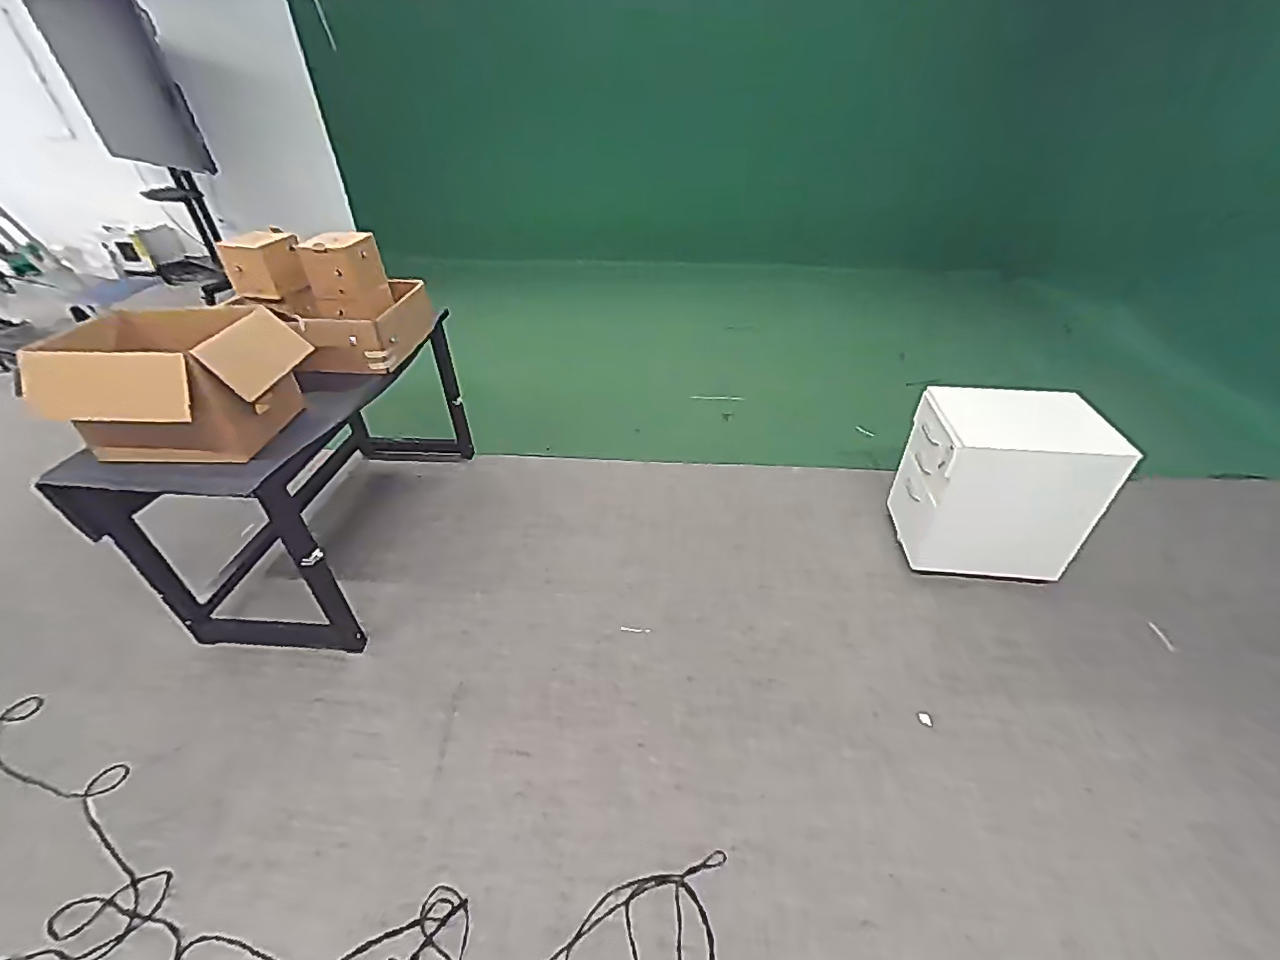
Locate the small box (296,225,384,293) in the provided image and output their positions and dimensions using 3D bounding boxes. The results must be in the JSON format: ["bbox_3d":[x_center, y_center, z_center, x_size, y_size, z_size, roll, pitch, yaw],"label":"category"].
[{"bbox_3d":[-0.976,-0.728,1.782,0.168,0.176,0.179,6,39,6],"label":"small box"}]

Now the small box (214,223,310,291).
[{"bbox_3d":[-1.245,-0.741,1.798,0.168,0.176,0.179,8,39,9],"label":"small box"}]
